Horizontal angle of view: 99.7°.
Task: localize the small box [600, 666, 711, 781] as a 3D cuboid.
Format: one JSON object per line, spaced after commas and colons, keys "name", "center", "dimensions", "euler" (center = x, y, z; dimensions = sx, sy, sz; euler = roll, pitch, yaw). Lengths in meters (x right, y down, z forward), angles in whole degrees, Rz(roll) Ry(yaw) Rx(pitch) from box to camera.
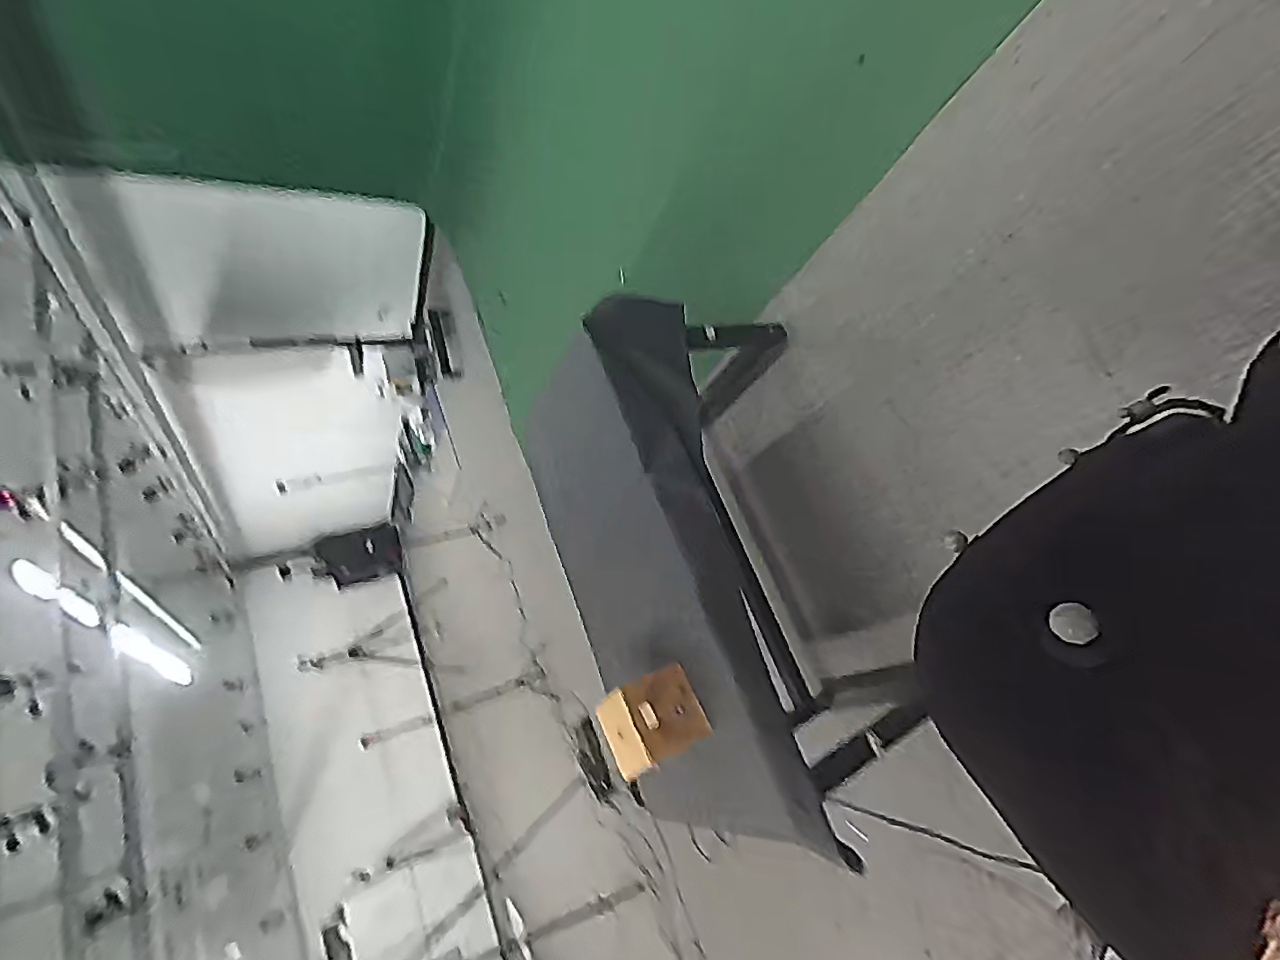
{"name": "small box", "center": [0.034, 0.552, 1.230], "dimensions": [0.168, 0.176, 0.179], "euler": [60, 143, 27]}
